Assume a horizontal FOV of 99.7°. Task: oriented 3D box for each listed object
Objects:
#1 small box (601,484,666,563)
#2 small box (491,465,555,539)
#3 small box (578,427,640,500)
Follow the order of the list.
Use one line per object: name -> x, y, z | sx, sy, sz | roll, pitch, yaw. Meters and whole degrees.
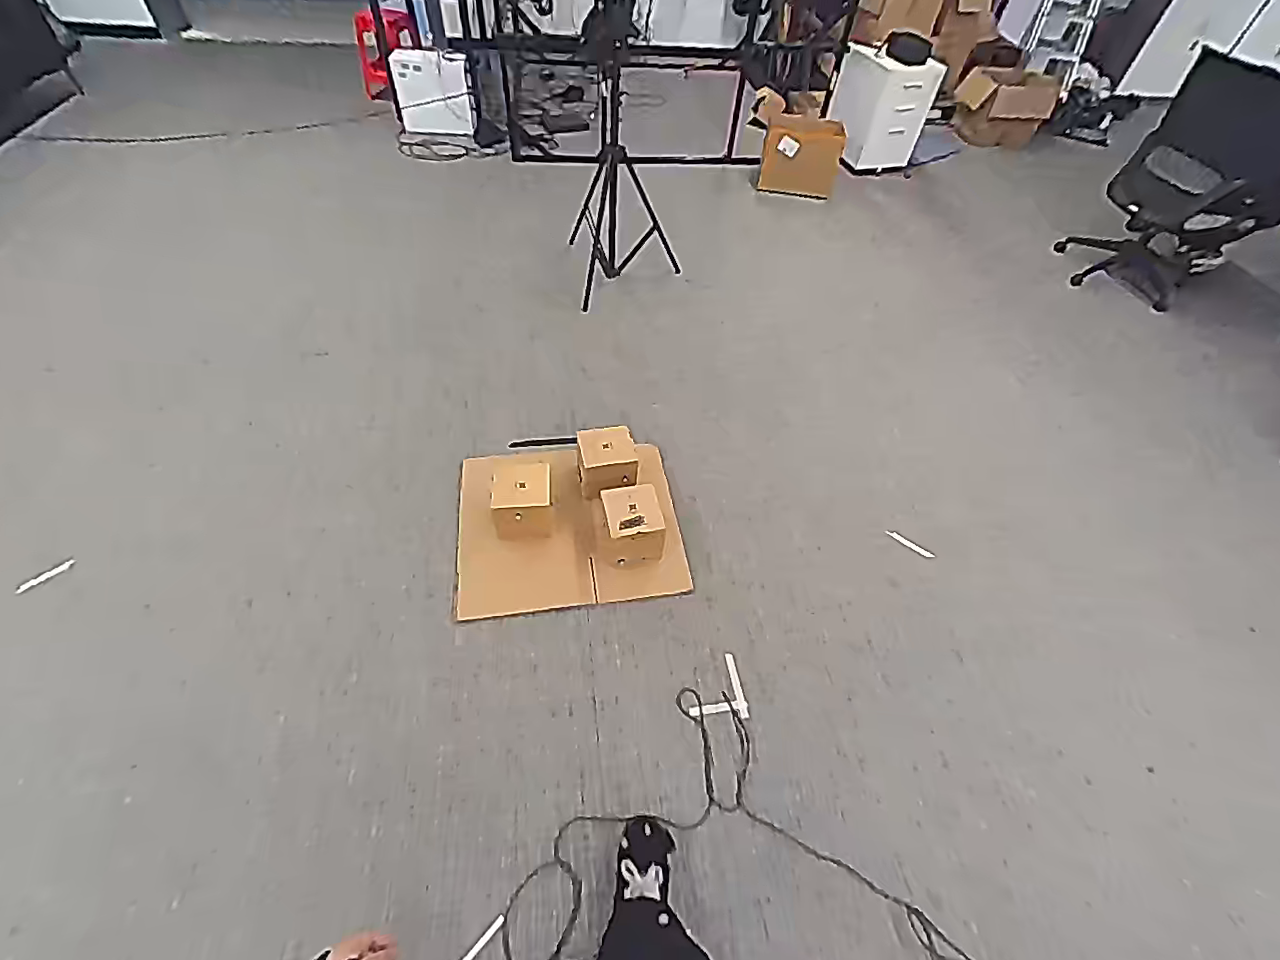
small box -> -0.023, 0.141, 1.656 | 0.168, 0.176, 0.179 | -8, 52, -11
small box -> -0.358, 0.070, 1.687 | 0.179, 0.176, 0.168 | -3, 52, -5
small box -> -0.107, -0.053, 1.808 | 0.179, 0.176, 0.168 | -10, 52, -11
